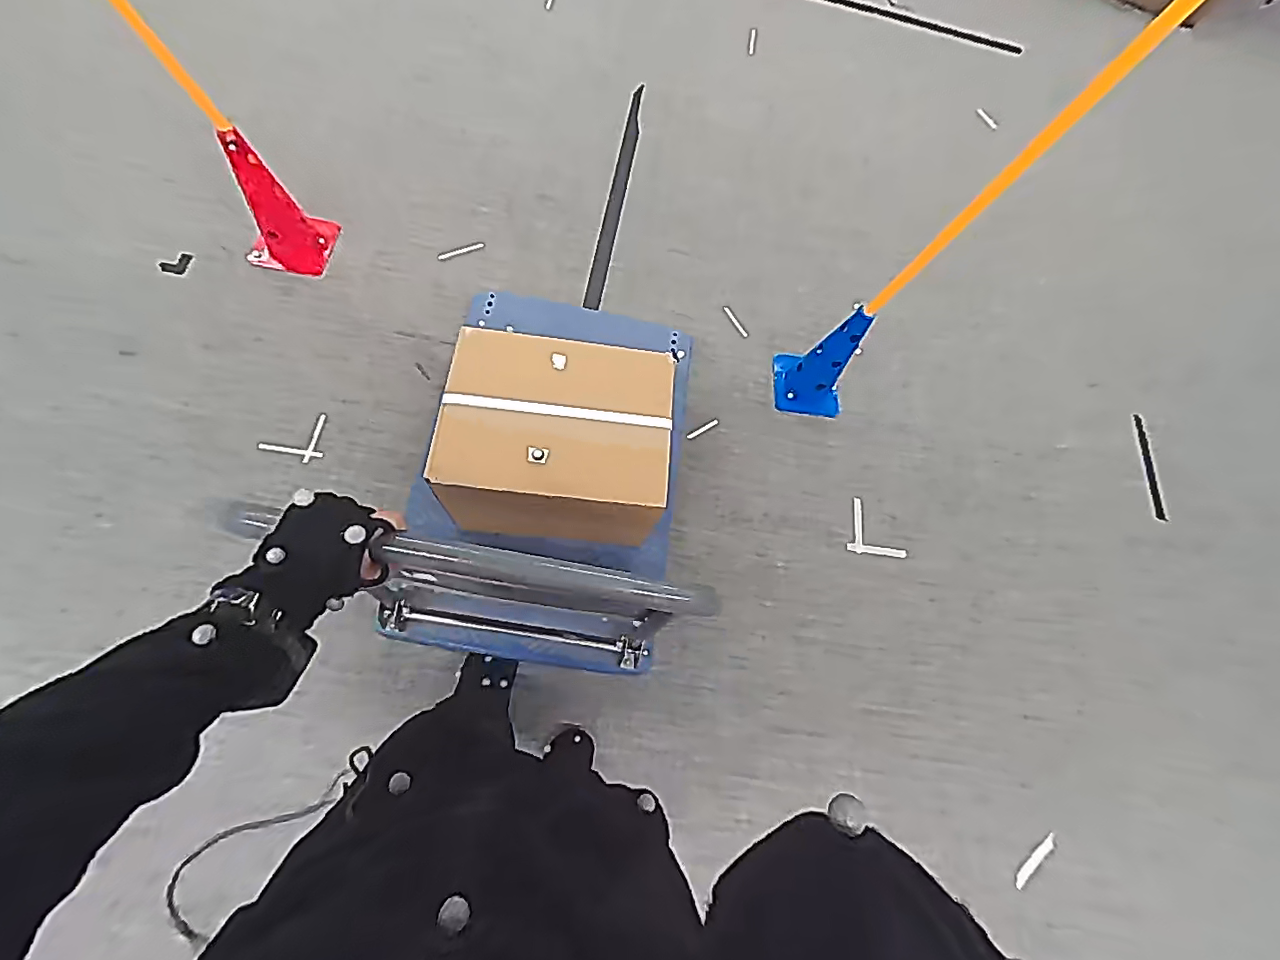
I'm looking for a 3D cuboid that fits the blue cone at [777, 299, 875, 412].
[{"bbox_3d":[0.532,-0.353,1.484,0.193,0.380,0.192,7,68,-7],"label":"blue cone"}]
